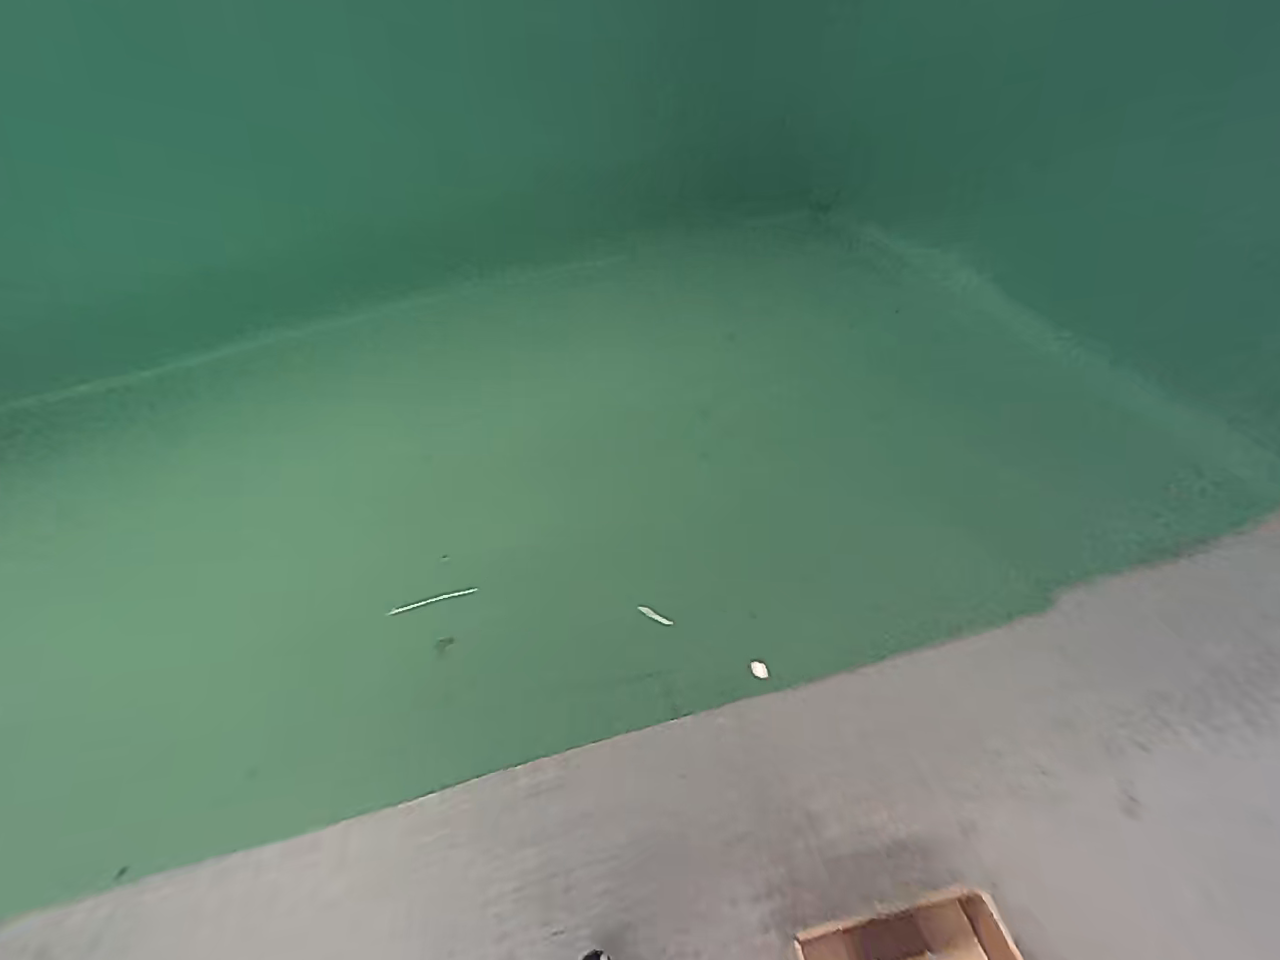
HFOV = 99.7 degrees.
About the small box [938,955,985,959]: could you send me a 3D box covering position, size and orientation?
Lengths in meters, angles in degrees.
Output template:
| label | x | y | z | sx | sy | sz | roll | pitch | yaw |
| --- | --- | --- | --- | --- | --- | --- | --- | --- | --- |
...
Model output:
| label | x | y | z | sx | sy | sz | roll | pitch | yaw |
| --- | --- | --- | --- | --- | --- | --- | --- | --- | --- |
| small box | 0.492 | 0.891 | 0.868 | 0.179 | 0.176 | 0.168 | -14 | 46 | -2 |
